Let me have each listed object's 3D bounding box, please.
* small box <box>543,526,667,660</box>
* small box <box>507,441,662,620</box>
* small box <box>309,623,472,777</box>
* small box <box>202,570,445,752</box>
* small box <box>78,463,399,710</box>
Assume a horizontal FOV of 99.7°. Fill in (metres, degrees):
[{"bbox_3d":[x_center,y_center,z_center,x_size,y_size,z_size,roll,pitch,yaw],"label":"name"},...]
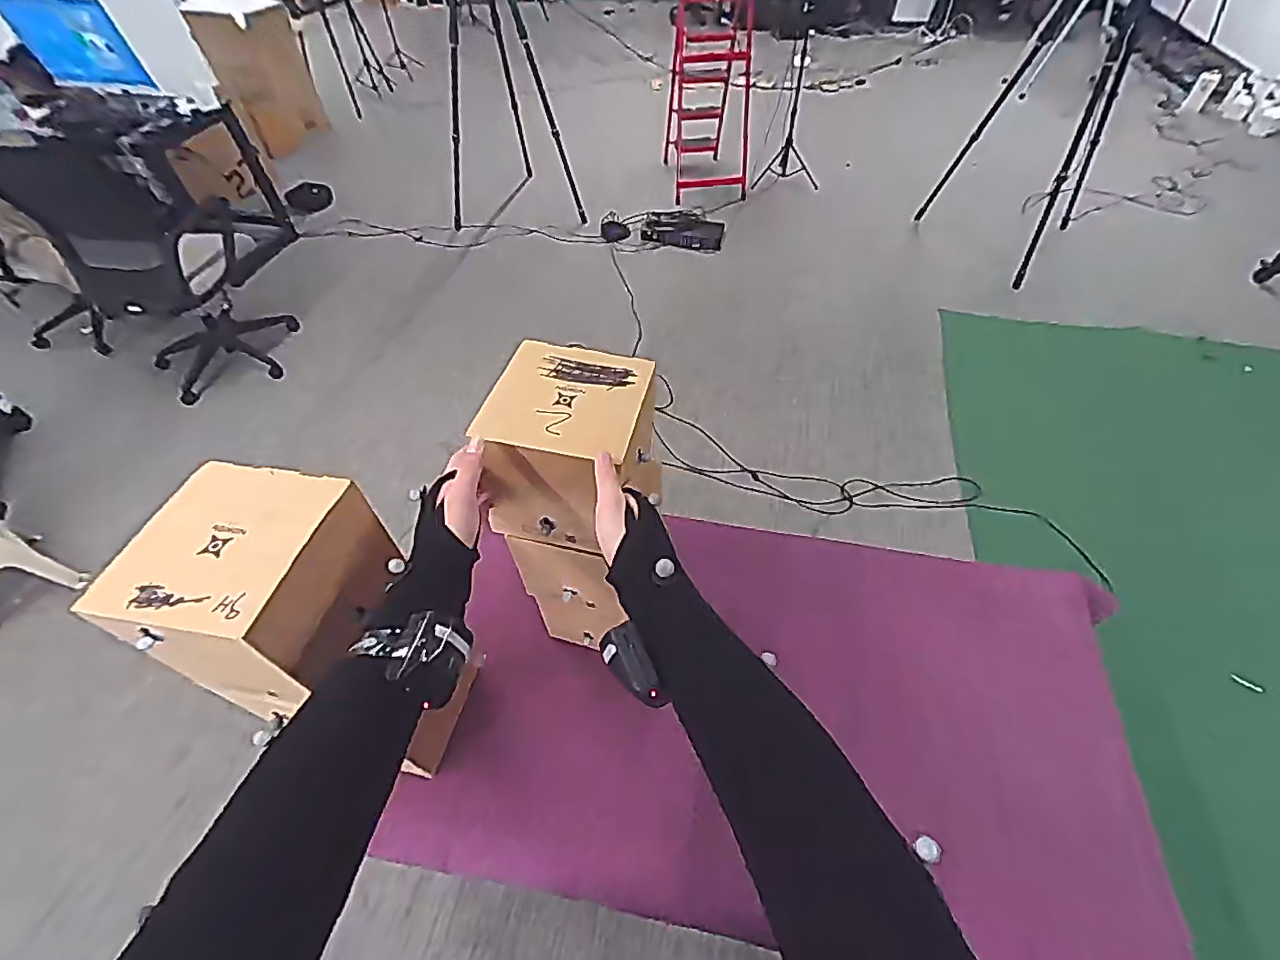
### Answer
[{"bbox_3d":[-0.058,0.174,0.914,0.168,0.176,0.179,13,53,12],"label":"small box"},{"bbox_3d":[-0.070,0.074,0.784,0.168,0.176,0.179,11,53,11],"label":"small box"},{"bbox_3d":[-0.371,0.317,0.809,0.168,0.176,0.179,9,51,9],"label":"small box"},{"bbox_3d":[-0.372,0.219,0.680,0.168,0.176,0.179,8,50,10],"label":"small box"},{"bbox_3d":[-0.378,0.108,0.557,0.168,0.176,0.179,6,49,10],"label":"small box"}]
